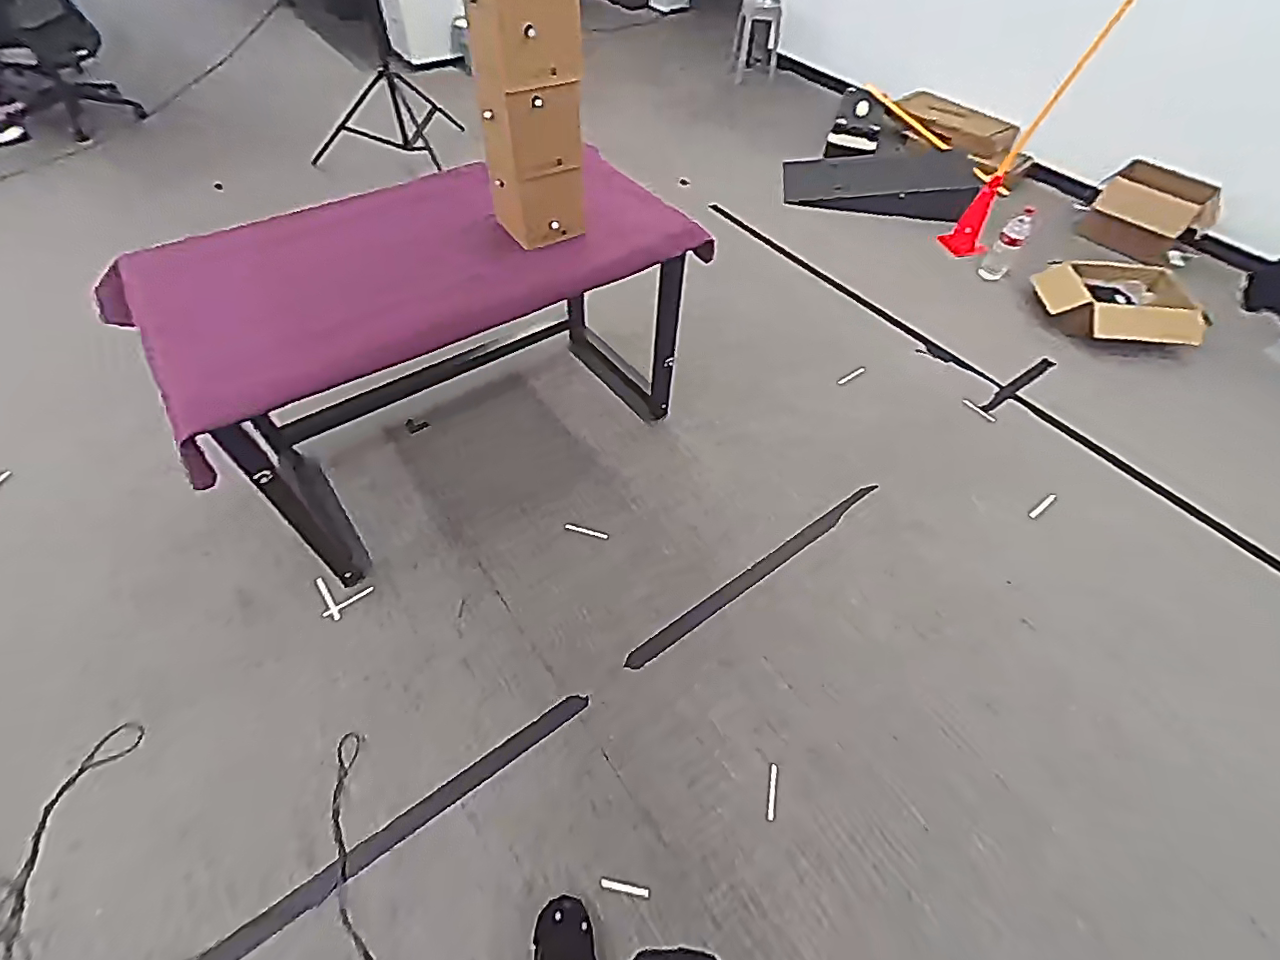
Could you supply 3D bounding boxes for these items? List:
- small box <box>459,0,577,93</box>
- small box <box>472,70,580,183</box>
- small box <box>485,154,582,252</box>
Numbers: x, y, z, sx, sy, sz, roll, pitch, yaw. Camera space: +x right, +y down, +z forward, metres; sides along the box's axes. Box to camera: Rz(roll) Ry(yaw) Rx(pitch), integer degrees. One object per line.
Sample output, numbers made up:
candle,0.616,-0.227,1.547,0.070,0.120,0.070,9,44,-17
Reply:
small box,-0.233,-0.872,1.044,0.168,0.176,0.179,-27,59,-20
small box,-0.245,-0.779,1.179,0.168,0.176,0.179,-26,58,-20
small box,-0.254,-0.685,1.313,0.168,0.176,0.179,-28,60,-21
